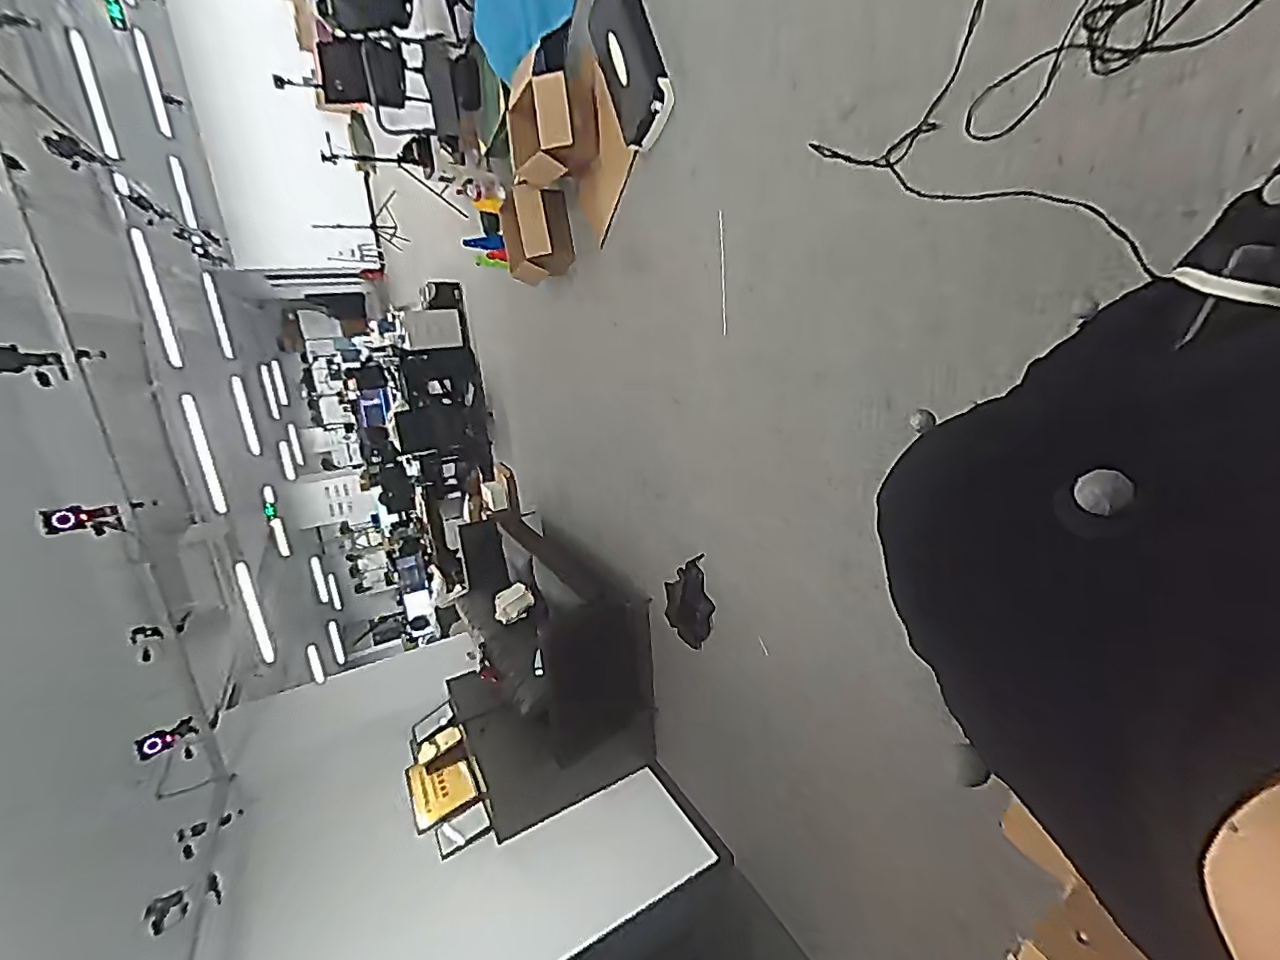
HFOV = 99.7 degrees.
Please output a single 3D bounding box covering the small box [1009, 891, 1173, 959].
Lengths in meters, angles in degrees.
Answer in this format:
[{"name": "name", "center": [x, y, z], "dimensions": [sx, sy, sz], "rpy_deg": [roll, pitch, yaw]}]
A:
[{"name": "small box", "center": [0.720, 0.797, 0.850], "dimensions": [0.179, 0.176, 0.168], "rpy_deg": [39, 136, 50]}]
